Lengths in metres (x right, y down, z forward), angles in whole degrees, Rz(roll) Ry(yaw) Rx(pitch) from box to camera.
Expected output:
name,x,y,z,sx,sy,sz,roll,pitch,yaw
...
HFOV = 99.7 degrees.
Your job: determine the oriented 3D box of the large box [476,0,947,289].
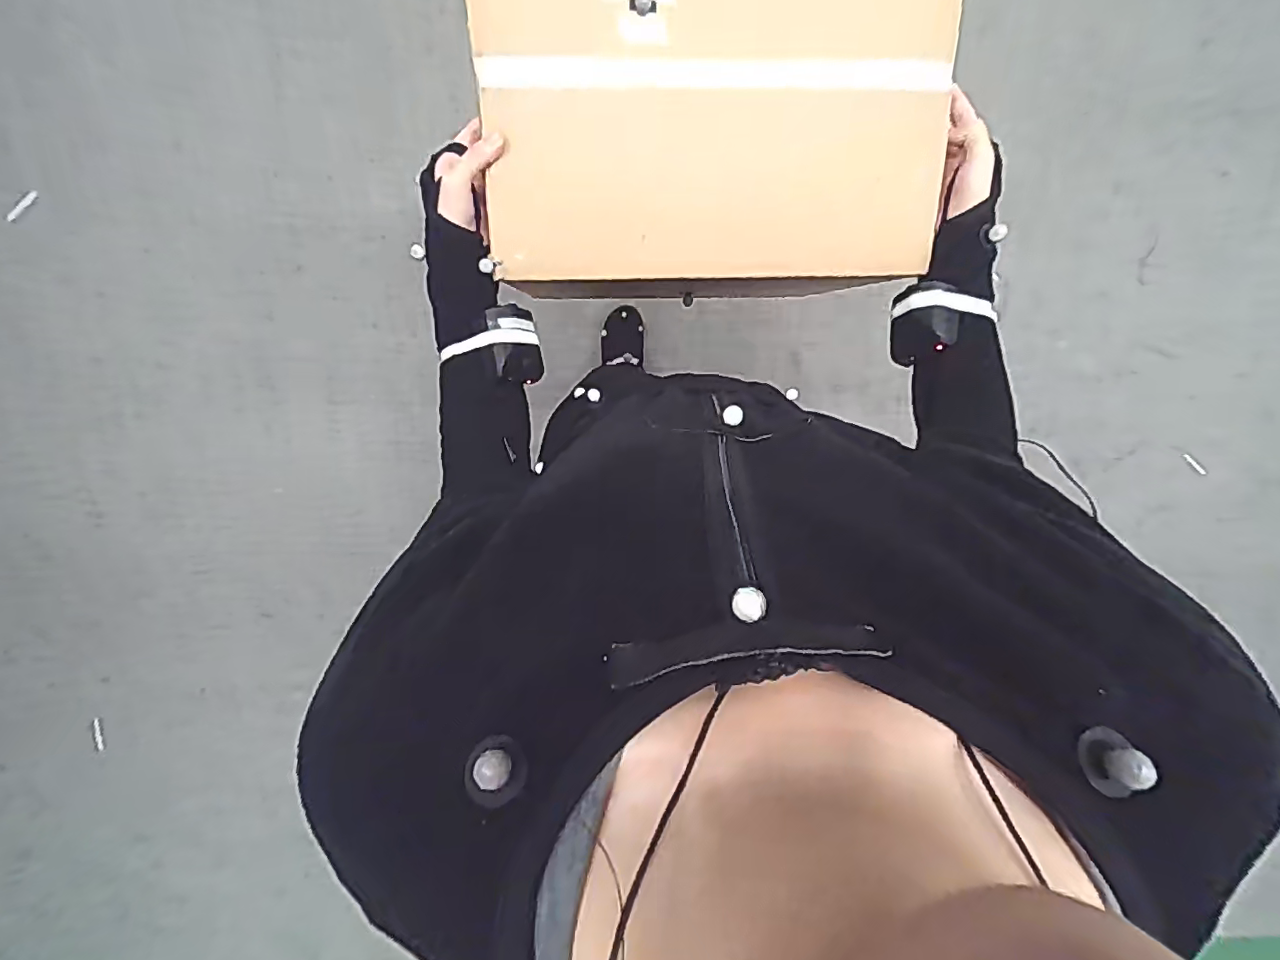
name,x,y,z,sx,sy,sz,roll,pitch,yaw
large box,0.057,-0.388,0.608,0.408,0.320,0.320,-2,105,-3
